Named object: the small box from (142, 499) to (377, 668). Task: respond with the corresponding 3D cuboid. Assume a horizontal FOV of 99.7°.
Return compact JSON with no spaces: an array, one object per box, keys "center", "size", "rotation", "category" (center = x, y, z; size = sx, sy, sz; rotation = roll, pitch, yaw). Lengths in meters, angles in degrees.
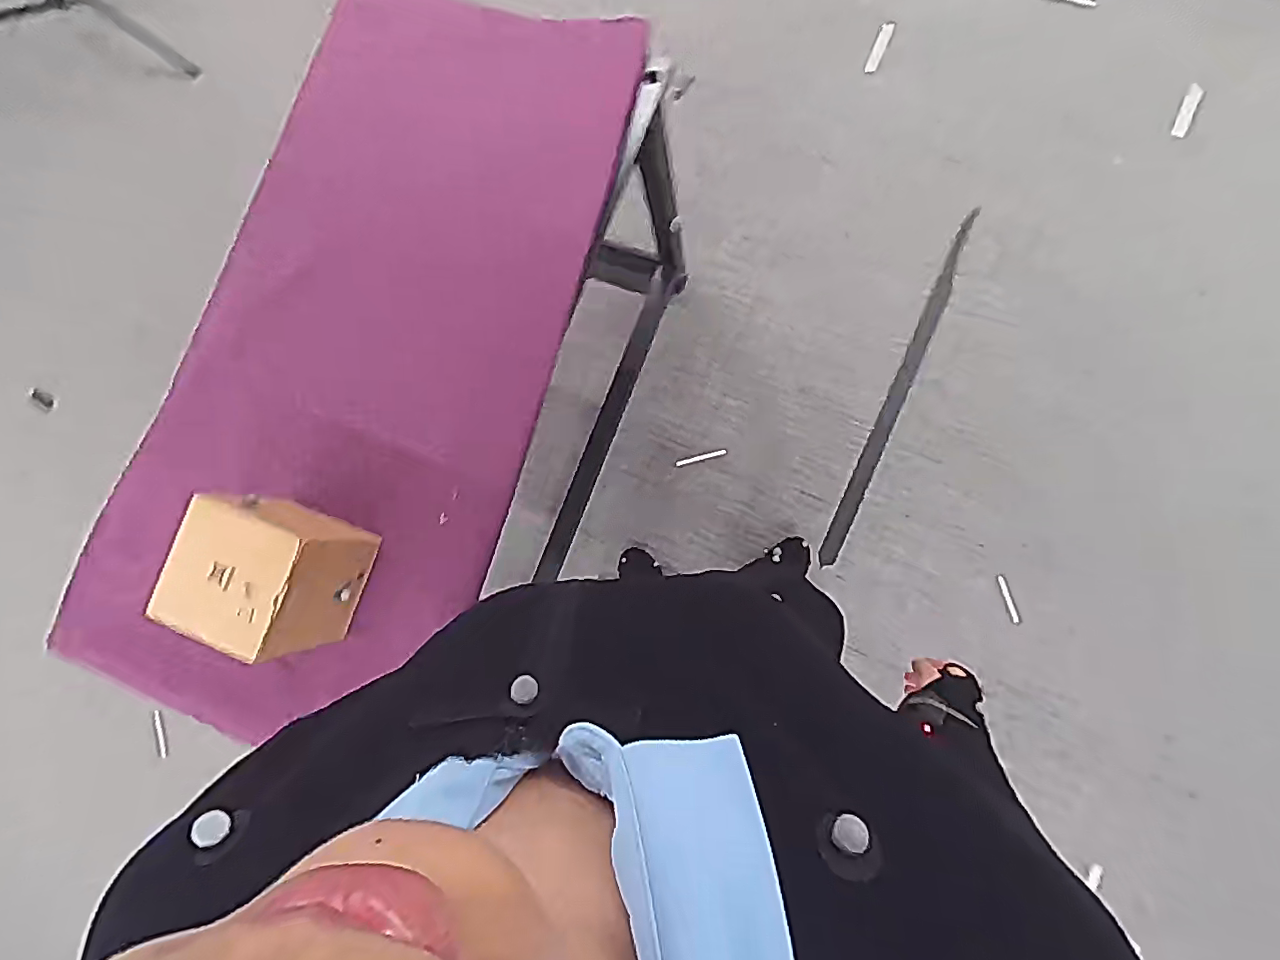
[{"center":[-0.515,0.137,0.756],"size":[0.179,0.176,0.168],"rotation":[19,87,9],"category":"small box"}]
